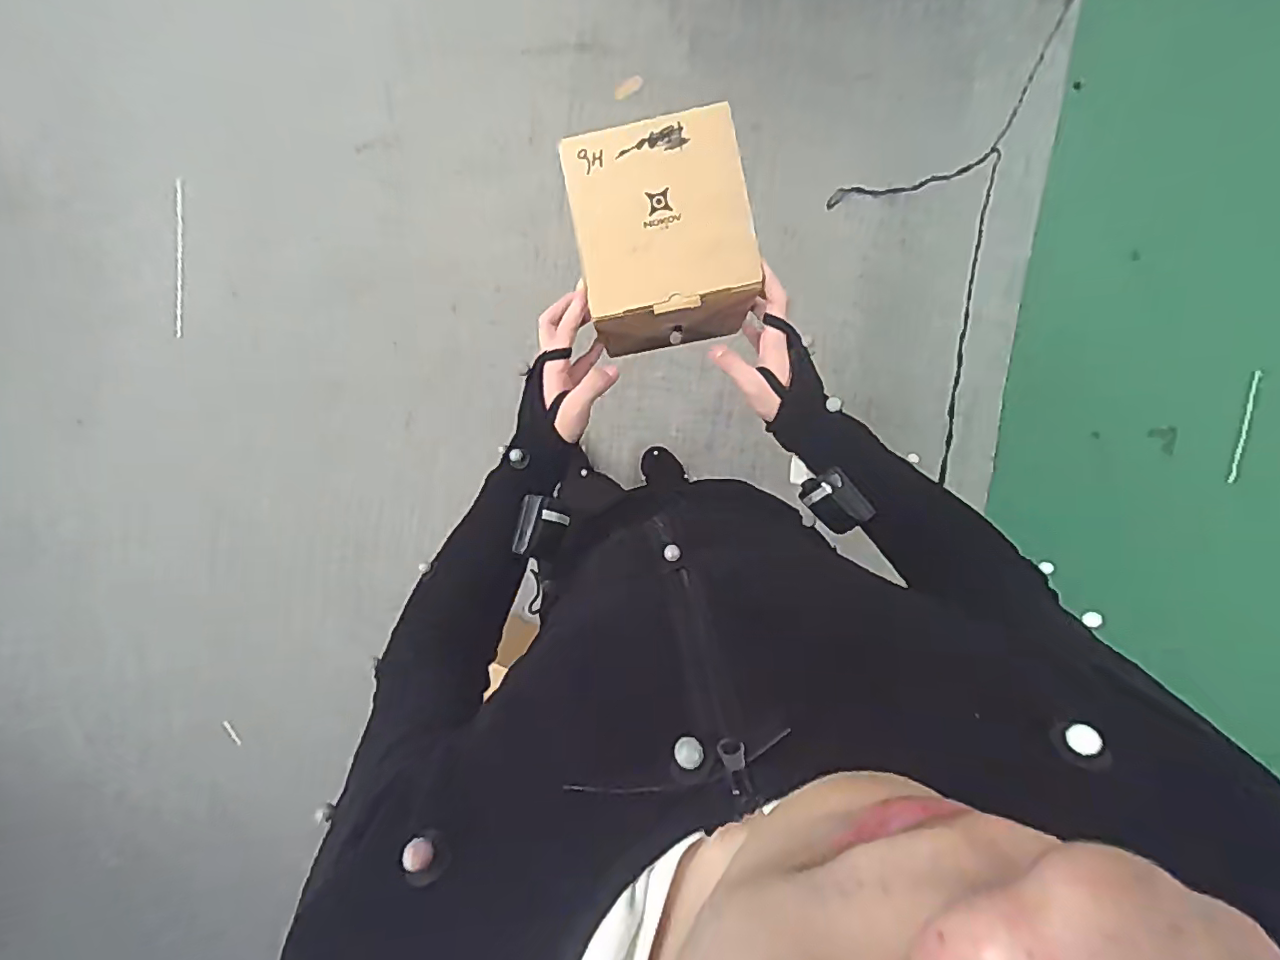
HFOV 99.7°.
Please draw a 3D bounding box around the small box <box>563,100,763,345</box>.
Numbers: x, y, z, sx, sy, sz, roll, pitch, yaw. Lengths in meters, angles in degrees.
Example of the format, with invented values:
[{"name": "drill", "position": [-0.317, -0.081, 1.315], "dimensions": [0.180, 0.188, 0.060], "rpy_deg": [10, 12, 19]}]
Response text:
[{"name": "small box", "position": [0.026, -0.252, 0.580], "dimensions": [0.168, 0.176, 0.179], "rpy_deg": [-10, 91, 3]}]
